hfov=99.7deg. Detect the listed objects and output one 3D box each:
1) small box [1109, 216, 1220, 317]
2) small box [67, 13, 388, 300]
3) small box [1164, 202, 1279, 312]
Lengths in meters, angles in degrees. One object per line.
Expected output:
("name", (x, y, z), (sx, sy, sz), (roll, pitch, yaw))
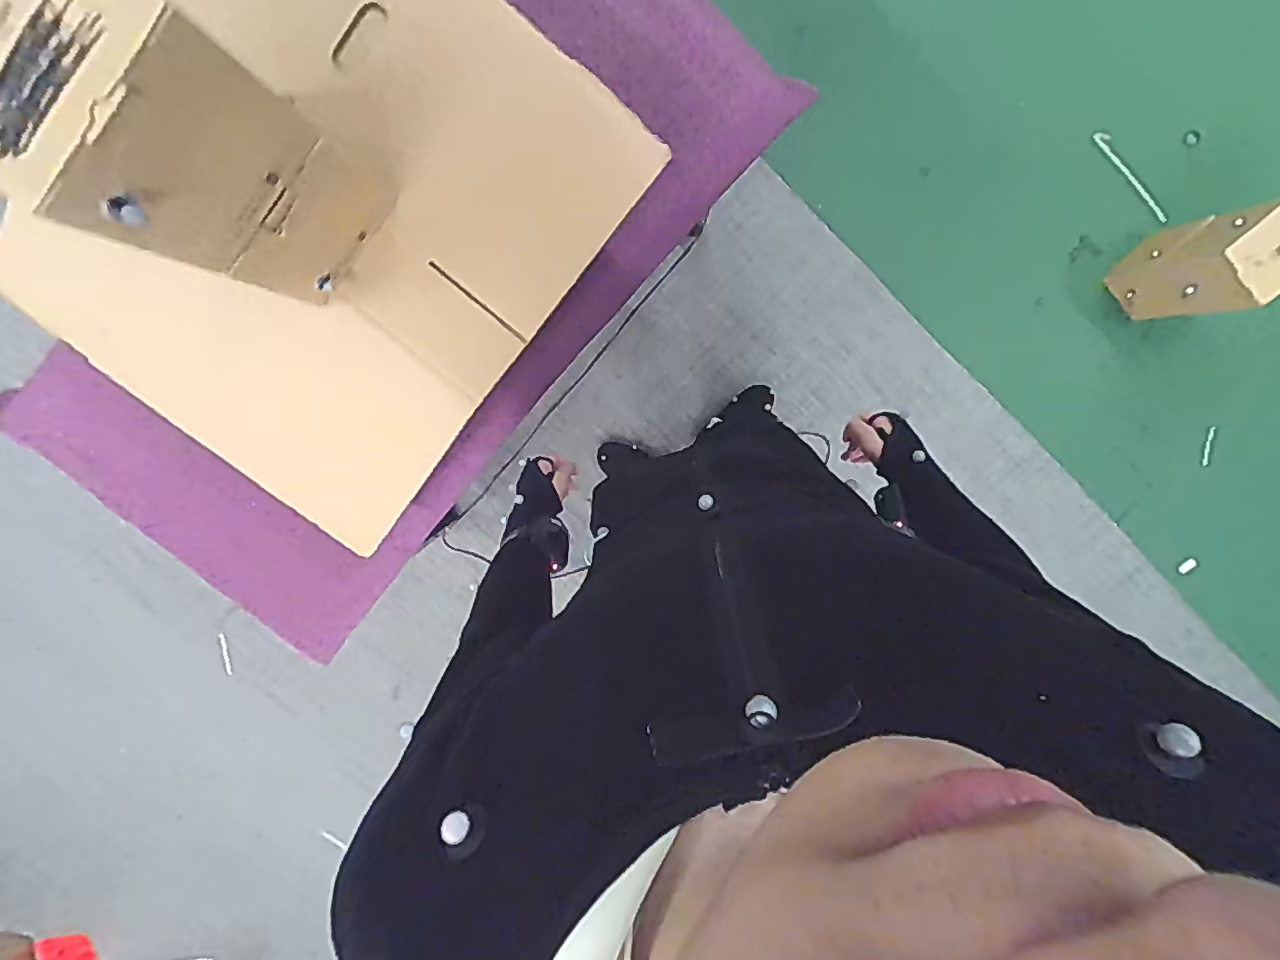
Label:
("small box", (1.429, -0.560, 1.444), (0.179, 0.176, 0.168), (-44, 97, 8))
("small box", (-0.411, -0.314, 0.576), (0.179, 0.176, 0.168), (38, 95, -6))
("small box", (1.427, -0.526, 1.283), (0.179, 0.176, 0.168), (-42, 97, 8))
